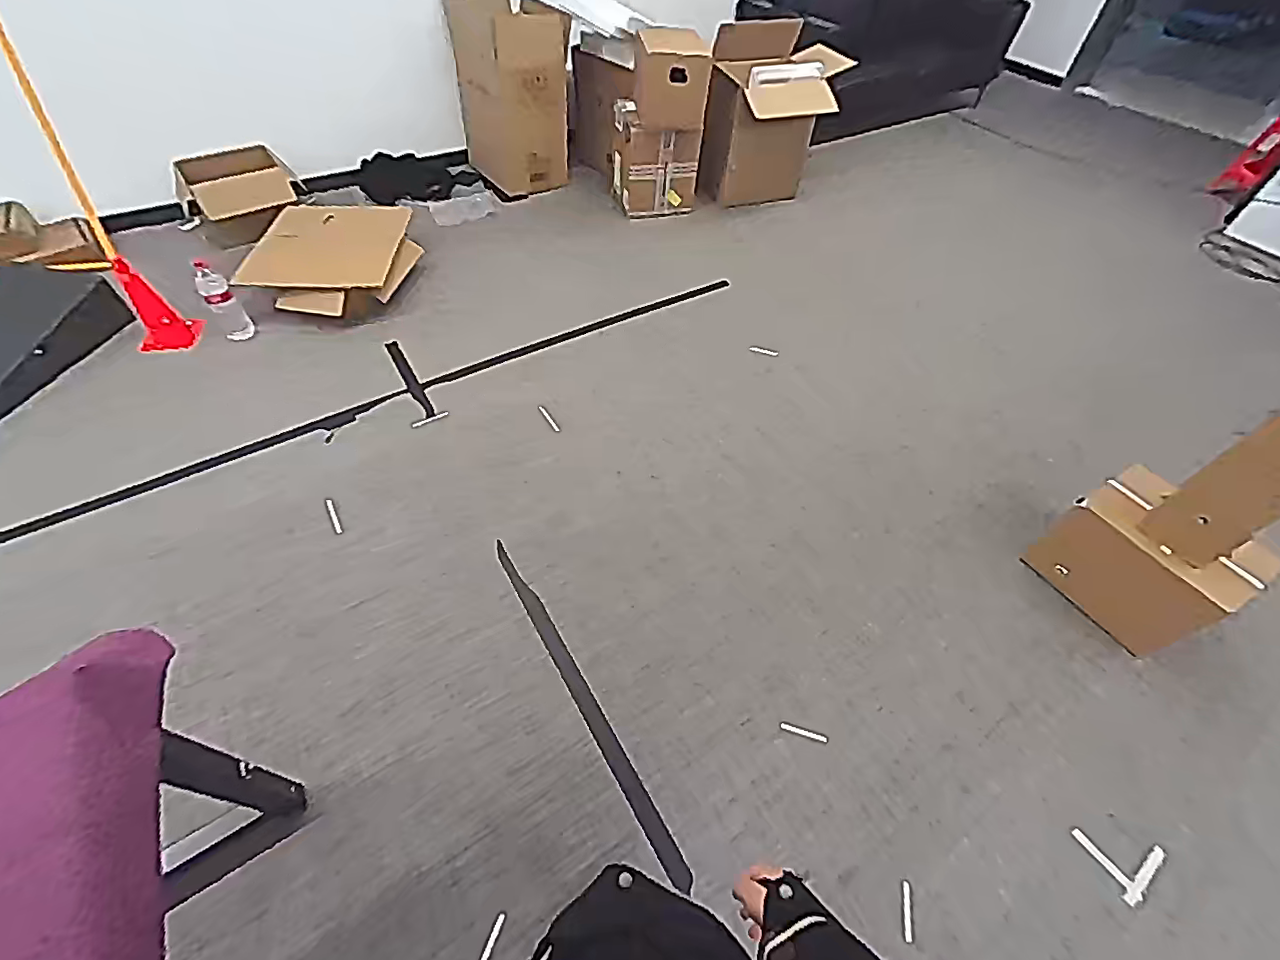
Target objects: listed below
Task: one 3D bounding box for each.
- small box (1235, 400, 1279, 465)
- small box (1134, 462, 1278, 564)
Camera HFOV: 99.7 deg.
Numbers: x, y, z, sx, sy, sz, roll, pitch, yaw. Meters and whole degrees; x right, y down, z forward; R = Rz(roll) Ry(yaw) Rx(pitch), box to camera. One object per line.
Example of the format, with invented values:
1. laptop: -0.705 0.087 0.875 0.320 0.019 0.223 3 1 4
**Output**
1. small box: 1.491 -0.119 1.173 0.168 0.176 0.179 -23 56 -20
2. small box: 1.479 0.090 1.428 0.168 0.176 0.179 -27 58 -21
